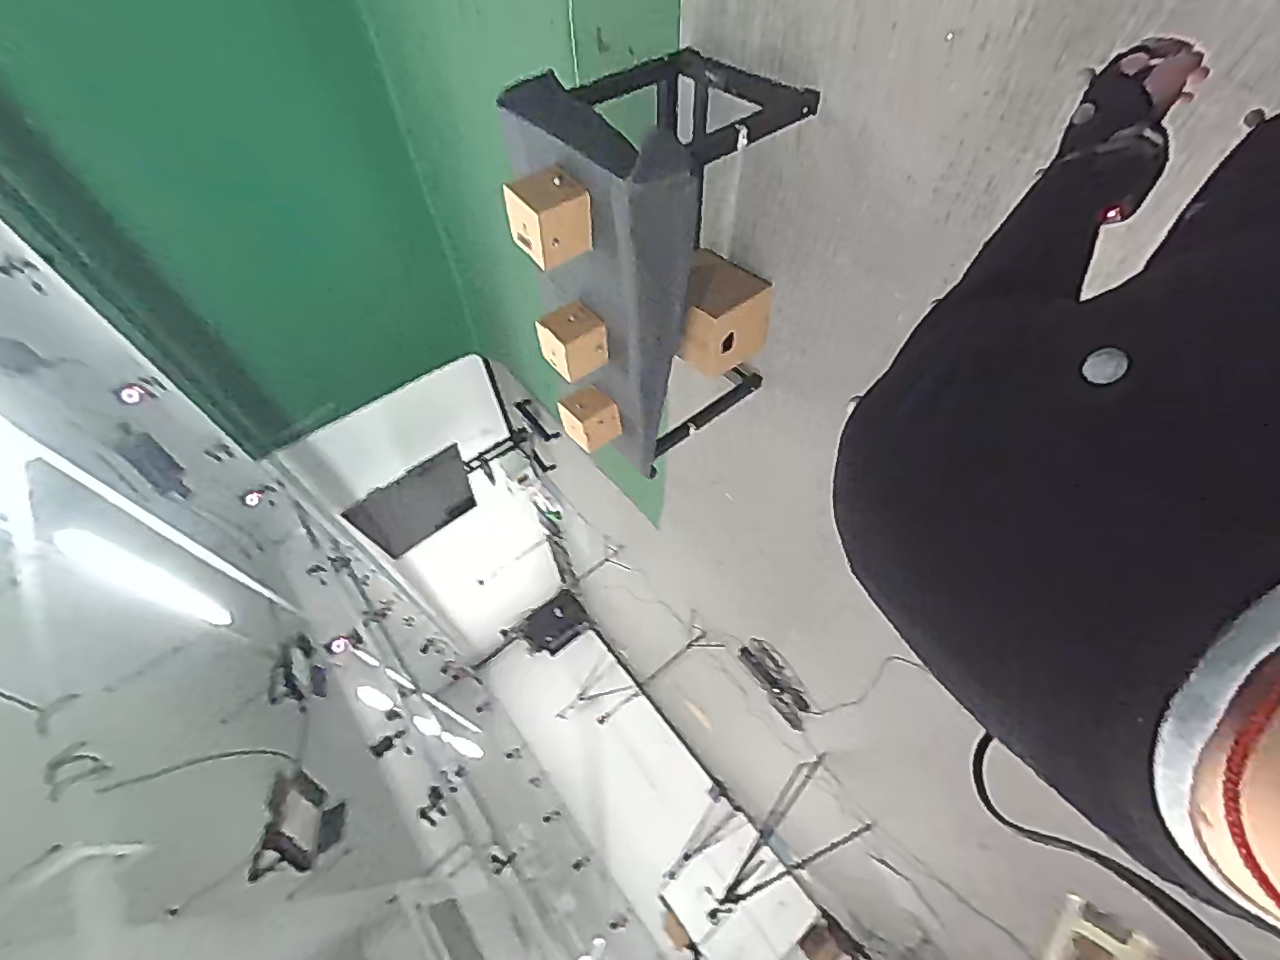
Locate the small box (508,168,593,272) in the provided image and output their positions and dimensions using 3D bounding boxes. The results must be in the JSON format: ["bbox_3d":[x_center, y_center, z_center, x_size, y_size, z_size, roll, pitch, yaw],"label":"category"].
[{"bbox_3d":[-0.241,-0.724,1.506,0.168,0.176,0.179,48,158,21],"label":"small box"}]

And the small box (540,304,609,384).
[{"bbox_3d":[-0.218,-0.470,1.855,0.168,0.176,0.179,46,157,25],"label":"small box"}]

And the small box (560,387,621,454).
[{"bbox_3d":[-0.188,-0.240,2.142,0.179,0.176,0.168,44,155,36],"label":"small box"}]
